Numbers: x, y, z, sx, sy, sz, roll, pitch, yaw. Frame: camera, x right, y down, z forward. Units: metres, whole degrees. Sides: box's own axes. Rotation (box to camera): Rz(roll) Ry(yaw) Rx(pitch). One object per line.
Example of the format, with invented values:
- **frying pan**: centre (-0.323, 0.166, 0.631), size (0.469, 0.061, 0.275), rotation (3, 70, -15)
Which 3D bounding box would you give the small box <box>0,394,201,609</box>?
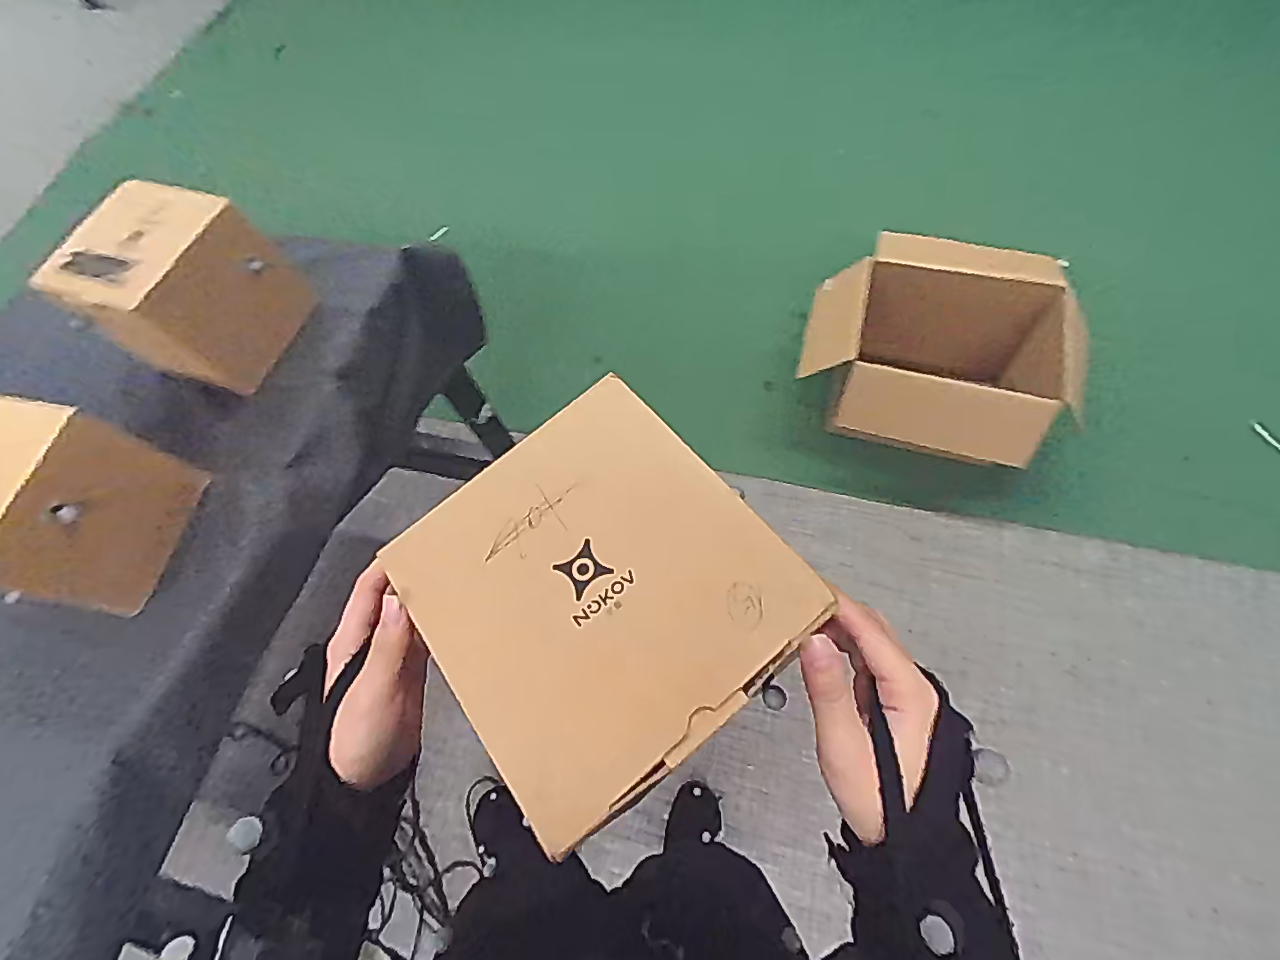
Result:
- **small box**: centre (-0.634, 0.026, 0.582), size (0.168, 0.176, 0.179), rotation (8, 68, 10)
